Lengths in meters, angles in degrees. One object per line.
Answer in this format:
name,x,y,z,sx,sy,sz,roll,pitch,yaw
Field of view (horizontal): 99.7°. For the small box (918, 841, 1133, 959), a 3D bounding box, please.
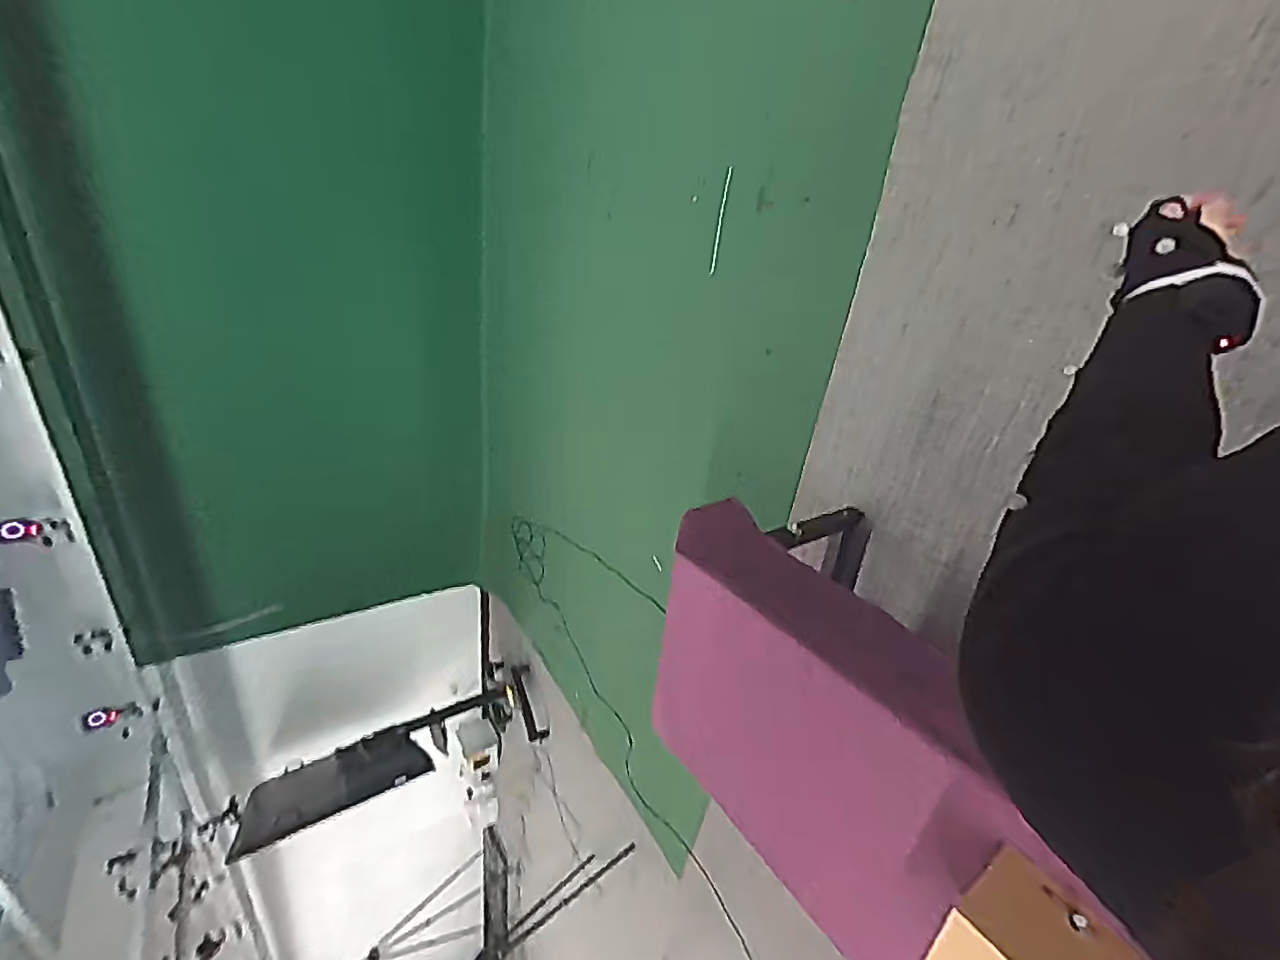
small box,0.520,0.652,0.737,0.168,0.176,0.179,34,125,46
